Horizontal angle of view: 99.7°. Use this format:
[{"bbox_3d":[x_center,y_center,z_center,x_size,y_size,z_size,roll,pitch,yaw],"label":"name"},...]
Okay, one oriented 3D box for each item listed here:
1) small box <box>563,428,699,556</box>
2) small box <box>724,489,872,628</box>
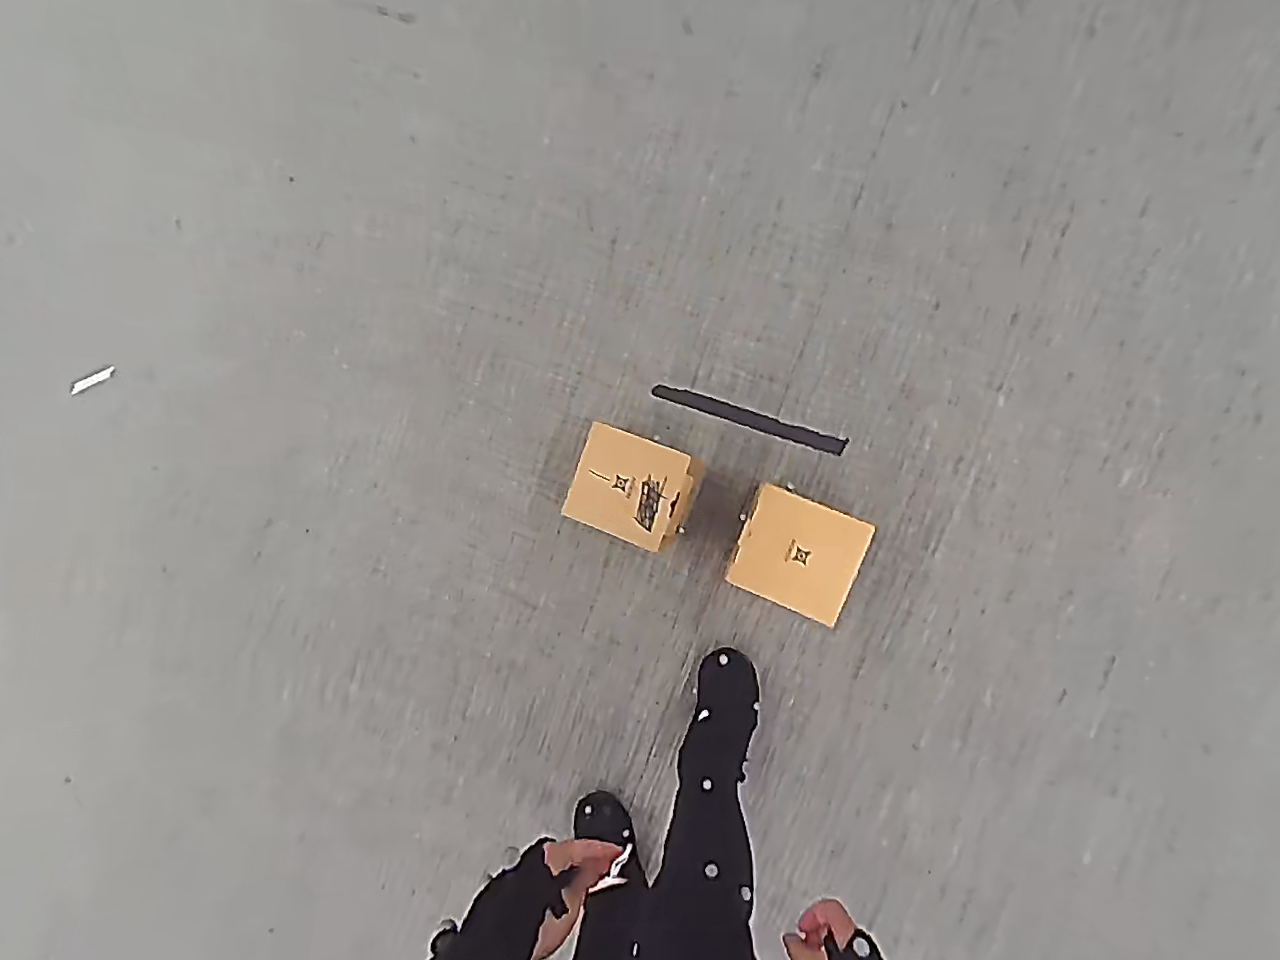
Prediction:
[{"bbox_3d":[-0.005,0.018,0.955,0.179,0.176,0.168,21,94,12],"label":"small box"},{"bbox_3d":[0.255,0.118,0.904,0.179,0.176,0.168,22,94,11],"label":"small box"}]
